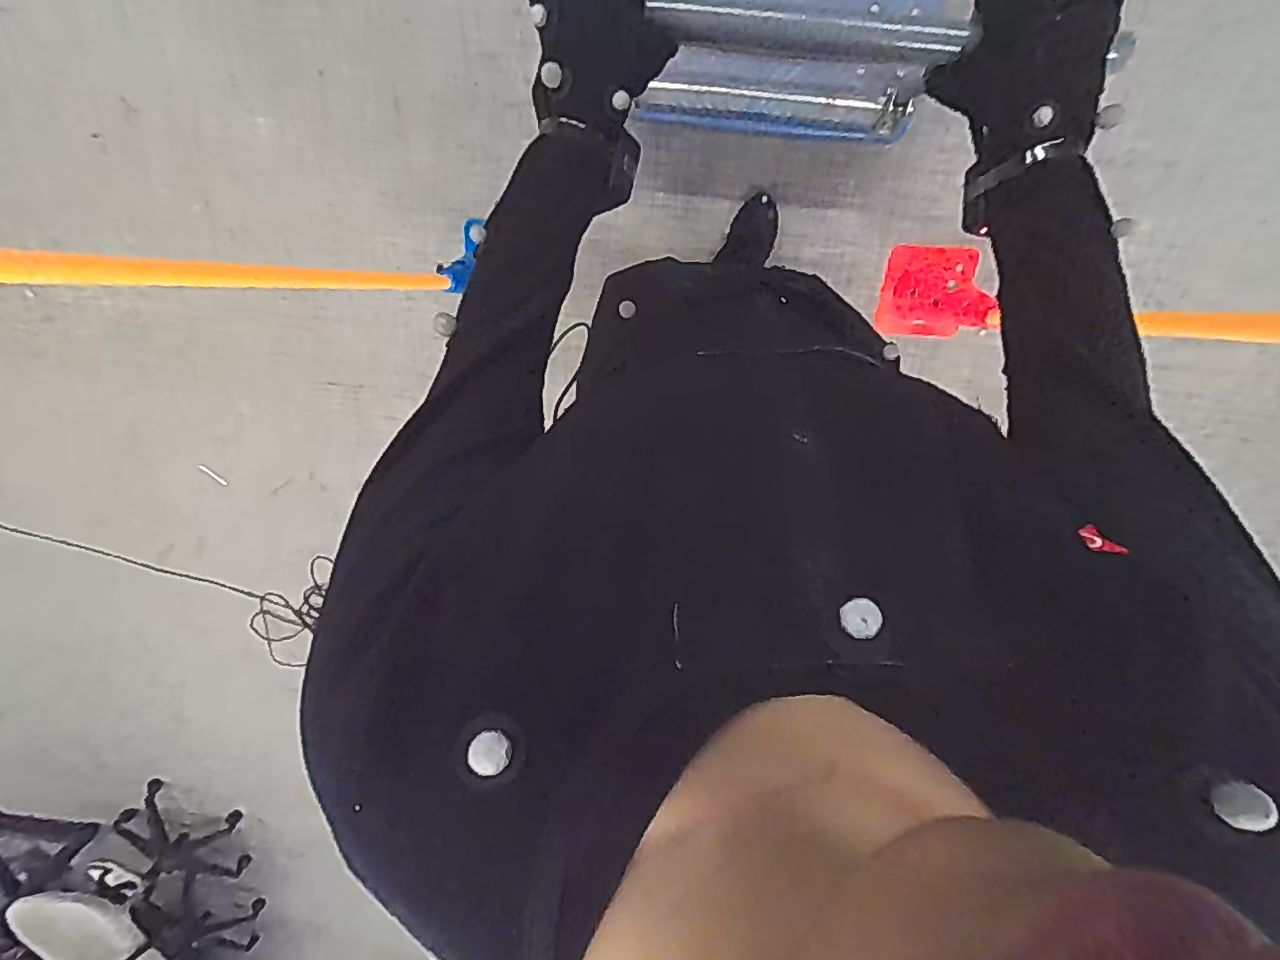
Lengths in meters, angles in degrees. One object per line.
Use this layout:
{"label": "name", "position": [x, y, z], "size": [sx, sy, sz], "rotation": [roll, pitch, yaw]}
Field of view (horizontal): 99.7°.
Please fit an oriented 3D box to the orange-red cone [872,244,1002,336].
{"label": "orange-red cone", "position": [0.647, -0.375, 1.127], "size": [0.199, 0.360, 0.198], "rotation": [7, 116, 5]}
